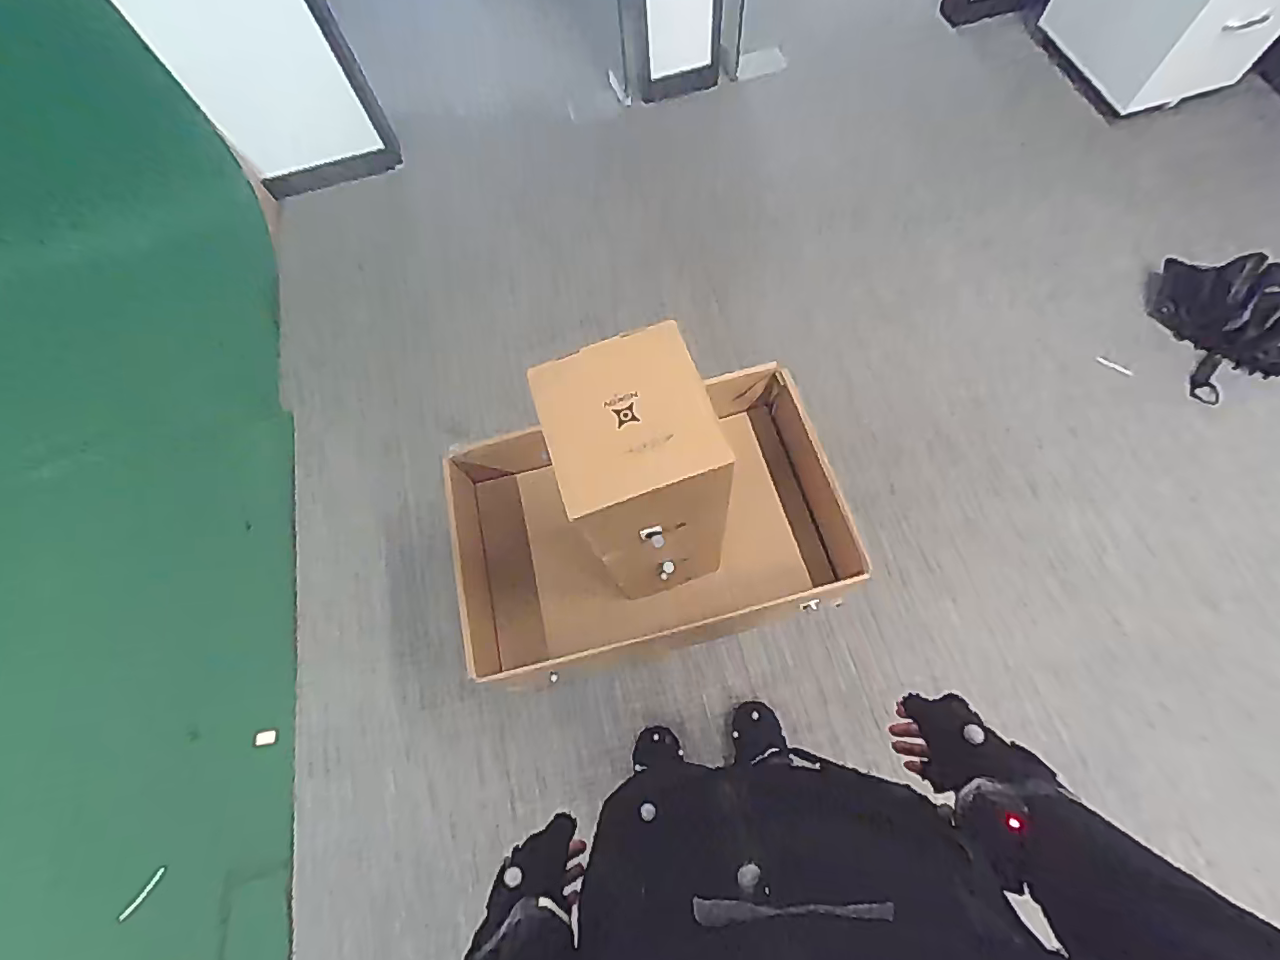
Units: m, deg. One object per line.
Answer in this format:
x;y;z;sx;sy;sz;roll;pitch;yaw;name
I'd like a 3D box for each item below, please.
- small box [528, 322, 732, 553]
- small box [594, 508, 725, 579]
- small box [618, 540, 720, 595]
-0.008;-0.038;0.610;0.168;0.176;0.179;-20;69;0;small box
0.008;0.021;0.759;0.168;0.176;0.179;-19;68;-2;small box
0.026;0.075;0.913;0.168;0.176;0.179;-20;67;0;small box
